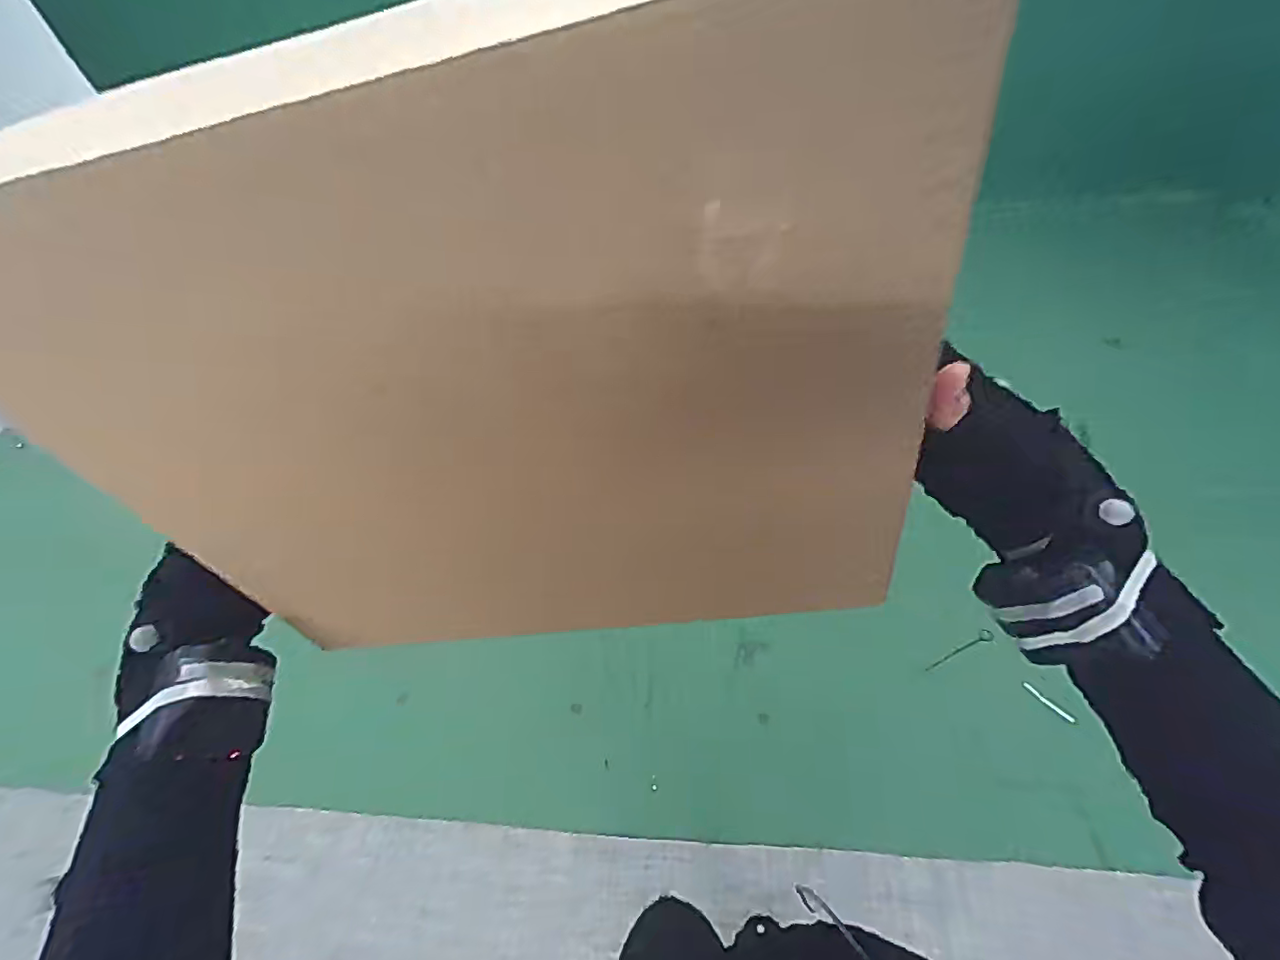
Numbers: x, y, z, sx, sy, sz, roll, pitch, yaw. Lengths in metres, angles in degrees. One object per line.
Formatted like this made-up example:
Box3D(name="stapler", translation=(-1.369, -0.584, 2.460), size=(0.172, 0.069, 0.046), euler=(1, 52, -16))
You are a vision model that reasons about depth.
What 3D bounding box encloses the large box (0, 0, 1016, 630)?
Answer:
Box3D(name="large box", translation=(-0.060, -0.117, 0.380), size=(0.408, 0.320, 0.320), euler=(-7, 47, 9))
